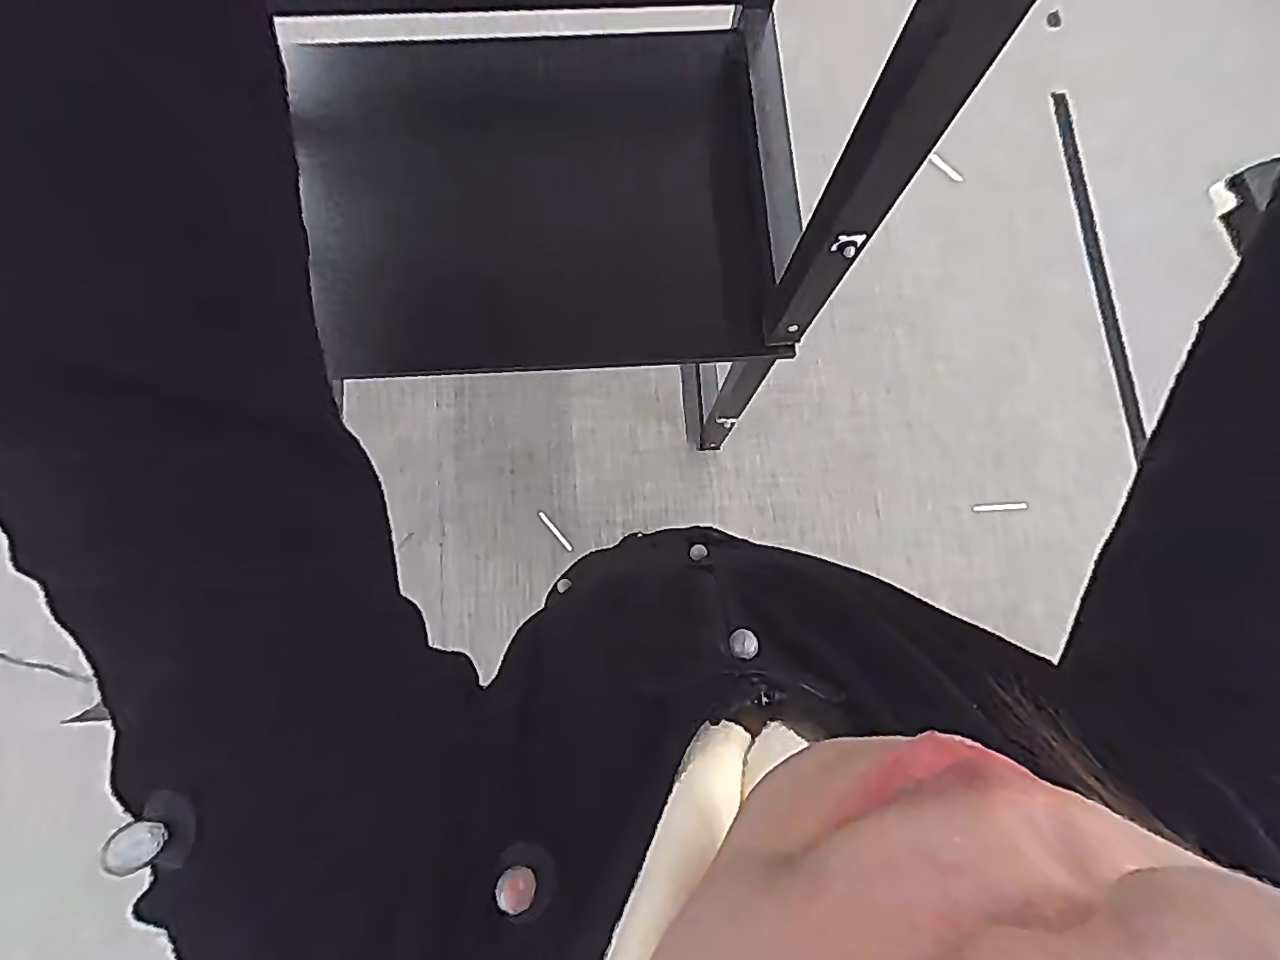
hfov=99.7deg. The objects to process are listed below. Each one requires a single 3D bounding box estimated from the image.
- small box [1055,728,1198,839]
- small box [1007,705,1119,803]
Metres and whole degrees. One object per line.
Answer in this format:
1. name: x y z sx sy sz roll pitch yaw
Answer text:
1. small box: 1.062 0.663 1.199 0.179 0.176 0.168 3 81 -1
2. small box: 1.066 0.684 1.363 0.168 0.176 0.179 -1 82 -1
